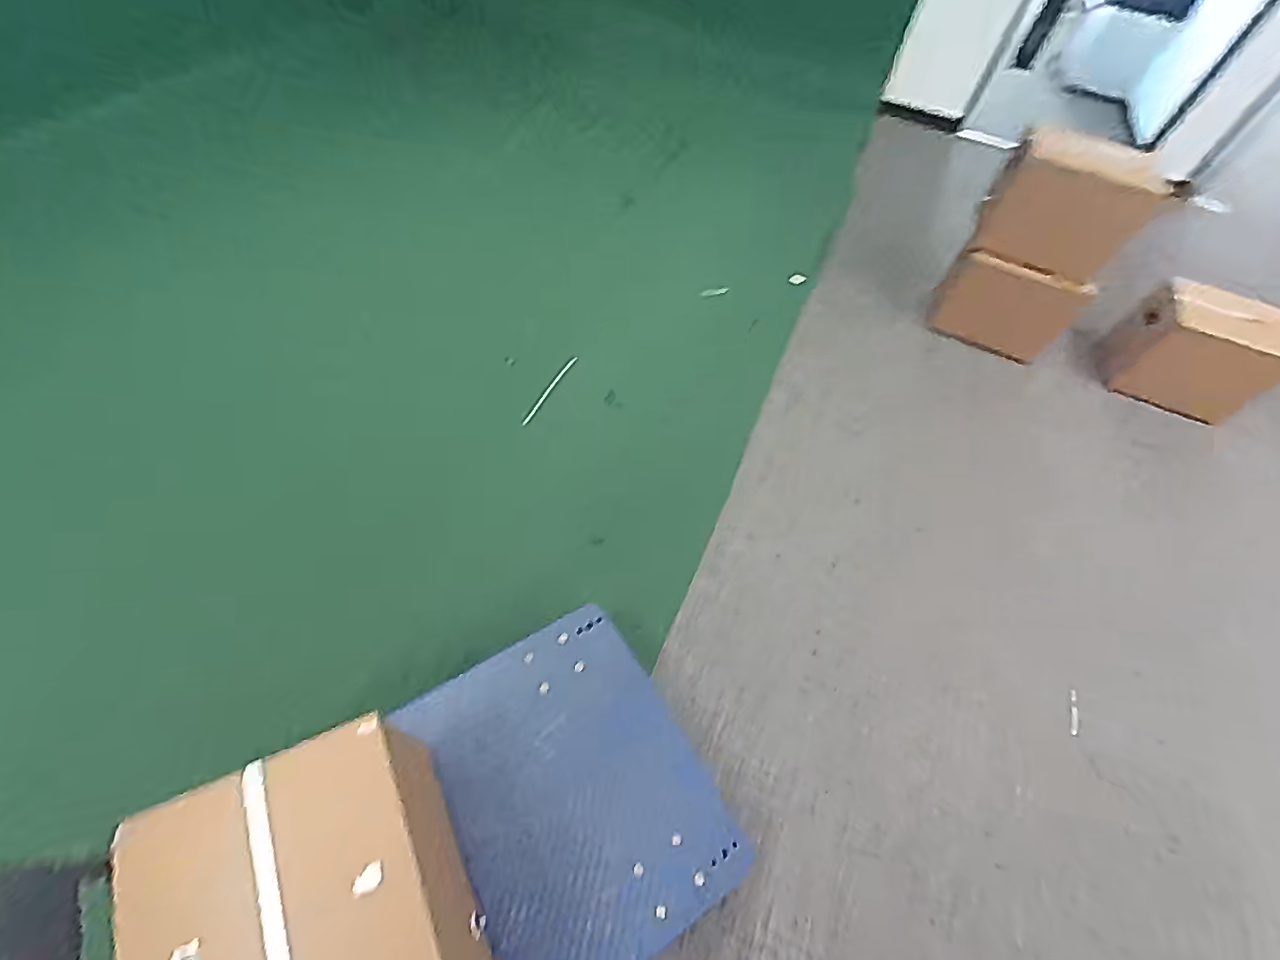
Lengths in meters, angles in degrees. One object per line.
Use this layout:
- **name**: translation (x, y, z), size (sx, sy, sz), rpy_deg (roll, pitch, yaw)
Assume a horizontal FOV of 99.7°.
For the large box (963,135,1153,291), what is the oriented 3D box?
- **large box**: translation (1.392, -0.912, 1.850), size (0.408, 0.320, 0.320), rpy_deg (24, 53, 8)
